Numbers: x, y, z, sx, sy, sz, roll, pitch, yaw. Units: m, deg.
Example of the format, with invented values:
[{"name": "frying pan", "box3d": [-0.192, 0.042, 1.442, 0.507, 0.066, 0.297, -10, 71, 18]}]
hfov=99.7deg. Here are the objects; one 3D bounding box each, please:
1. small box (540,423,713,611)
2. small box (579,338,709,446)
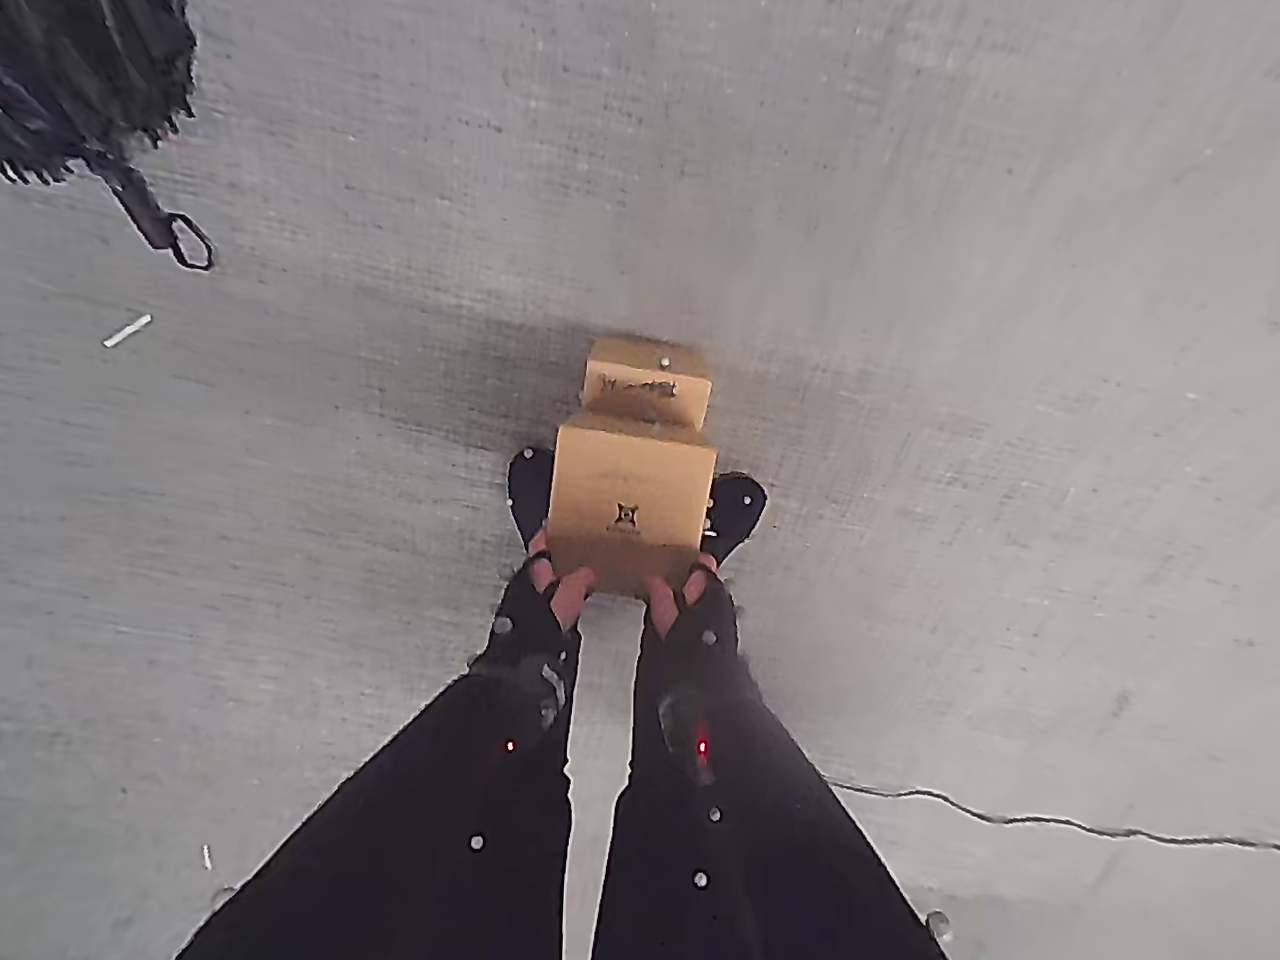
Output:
[{"name": "small box", "box3d": [-0.017, 0.034, 0.652, 0.168, 0.176, 0.179, 8, 100, -2]}, {"name": "small box", "box3d": [-0.002, -0.096, 0.810, 0.168, 0.176, 0.179, 9, 117, -4]}]
